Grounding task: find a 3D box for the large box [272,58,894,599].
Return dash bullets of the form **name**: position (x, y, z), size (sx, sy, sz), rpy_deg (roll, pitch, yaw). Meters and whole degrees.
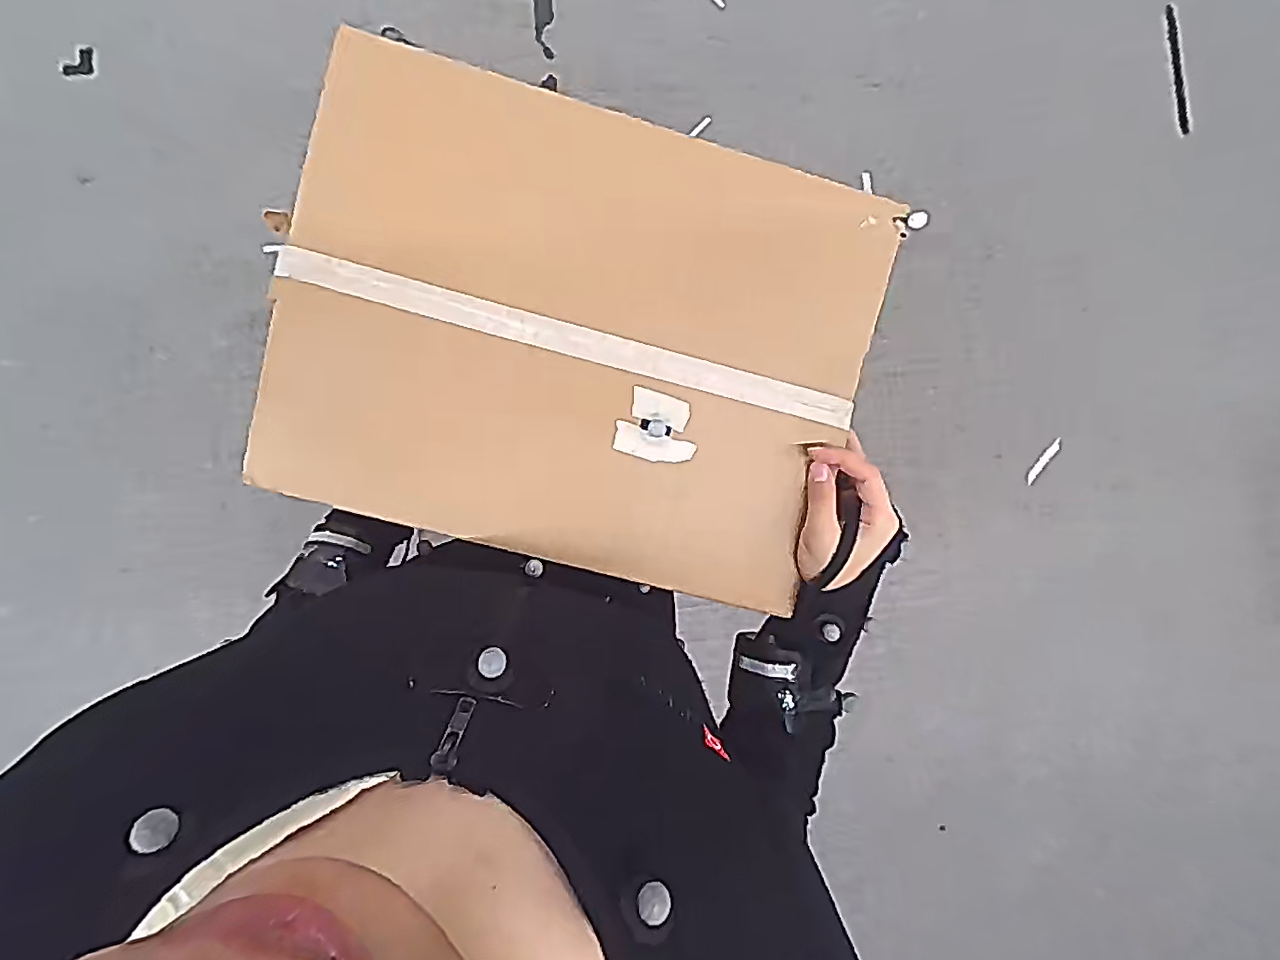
- **large box**: position (-0.049, -0.107, 0.537), size (0.408, 0.320, 0.320), rpy_deg (13, 94, -6)
